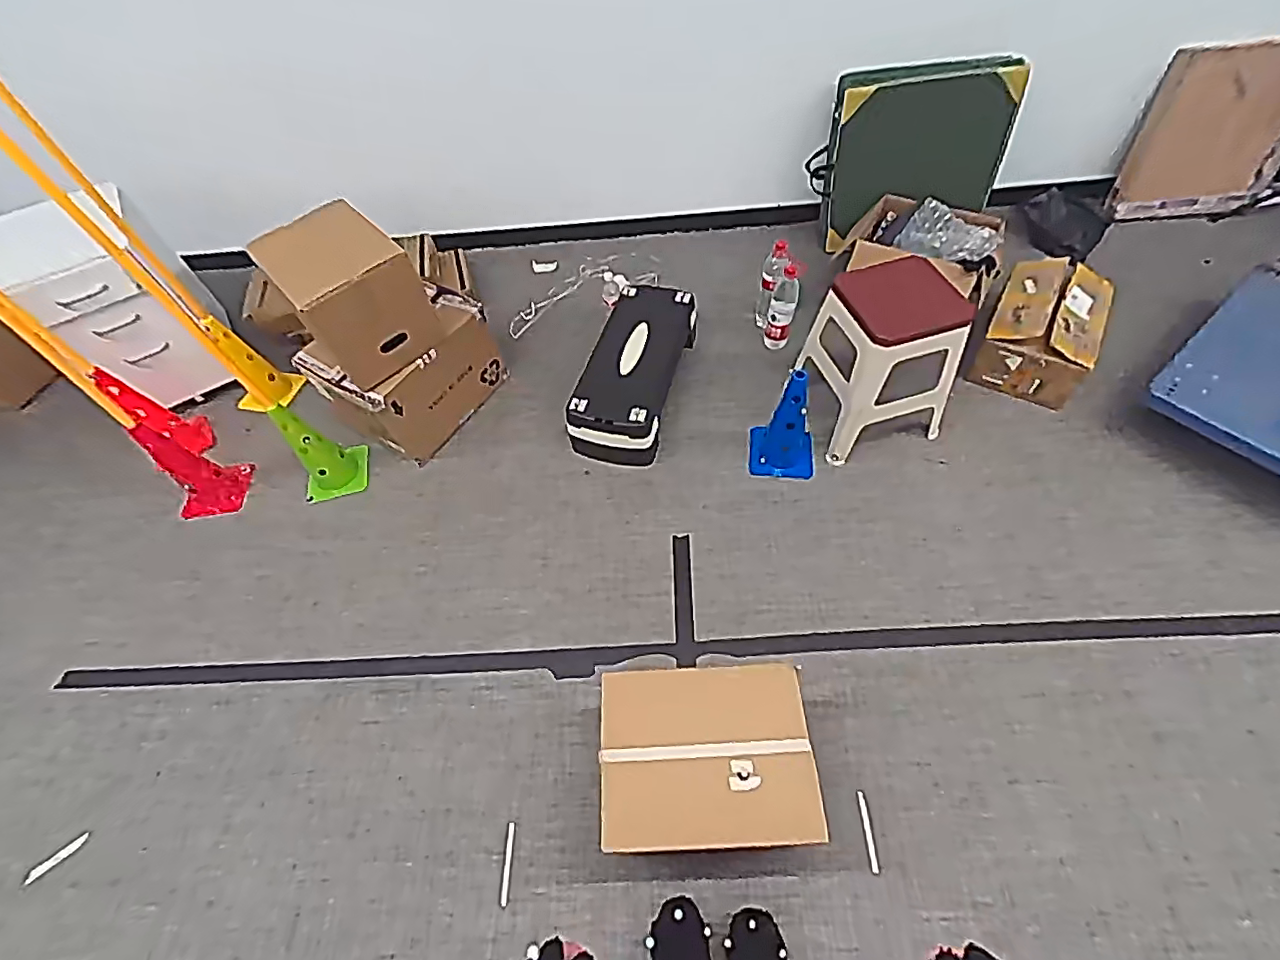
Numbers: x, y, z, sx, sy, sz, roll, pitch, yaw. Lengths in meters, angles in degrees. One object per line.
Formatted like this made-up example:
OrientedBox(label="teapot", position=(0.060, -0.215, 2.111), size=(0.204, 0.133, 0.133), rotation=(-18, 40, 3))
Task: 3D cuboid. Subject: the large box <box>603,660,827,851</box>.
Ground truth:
OrientedBox(label="large box", position=(0.135, 0.599, 1.166), size=(0.408, 0.320, 0.320), rotation=(-4, 57, 1))
